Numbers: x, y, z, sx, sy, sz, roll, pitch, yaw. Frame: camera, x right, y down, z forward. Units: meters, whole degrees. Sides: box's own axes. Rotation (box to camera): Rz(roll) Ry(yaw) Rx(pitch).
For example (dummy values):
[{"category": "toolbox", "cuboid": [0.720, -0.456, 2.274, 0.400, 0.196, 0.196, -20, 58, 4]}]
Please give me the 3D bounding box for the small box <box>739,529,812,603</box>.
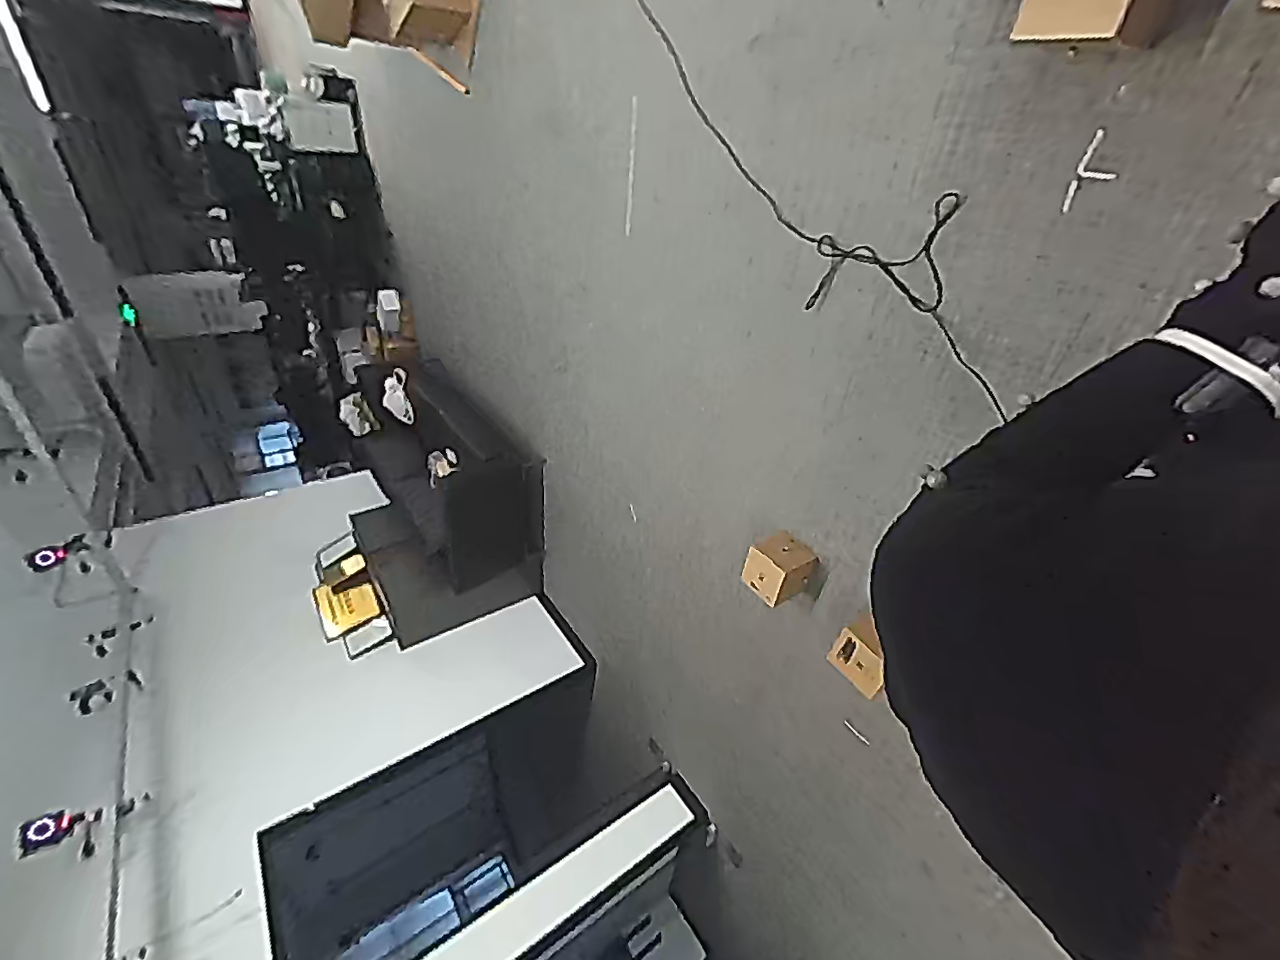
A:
[{"category": "small box", "cuboid": [0.484, 0.300, 1.928, 0.168, 0.176, 0.179, 43, 138, 39]}]
